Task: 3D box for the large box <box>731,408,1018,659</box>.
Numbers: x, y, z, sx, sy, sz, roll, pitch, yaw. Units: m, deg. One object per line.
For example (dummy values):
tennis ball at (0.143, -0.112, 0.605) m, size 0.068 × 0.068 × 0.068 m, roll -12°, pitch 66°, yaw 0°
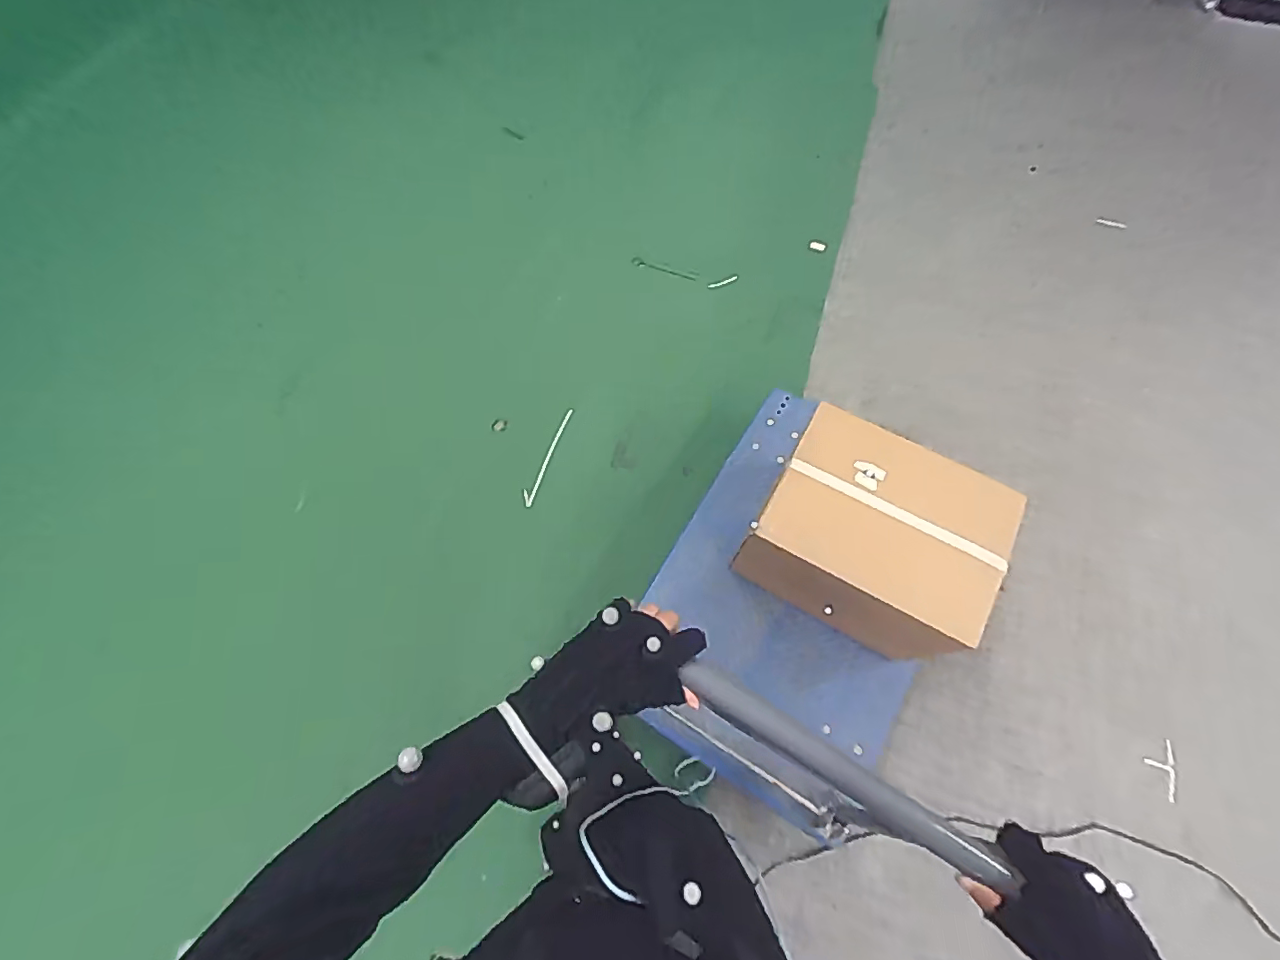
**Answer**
large box at (0.445, 0.123, 1.105) m, size 0.408 × 0.320 × 0.320 m, roll 28°, pitch 70°, yaw 13°
